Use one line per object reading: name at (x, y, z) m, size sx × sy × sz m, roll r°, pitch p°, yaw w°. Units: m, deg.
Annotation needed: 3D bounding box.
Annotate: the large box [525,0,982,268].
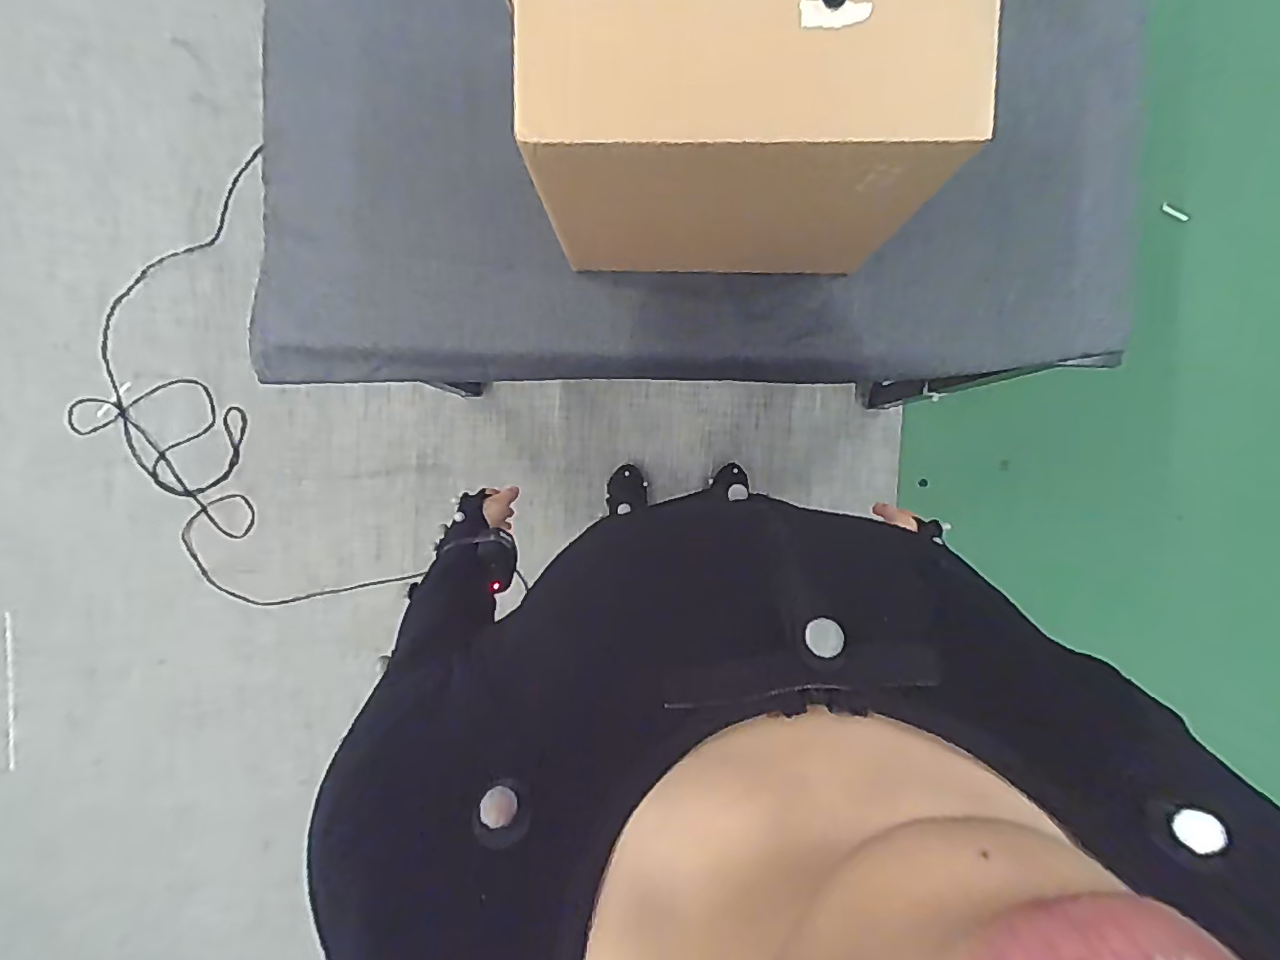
large box at (0.098, -0.452, 0.617) m, size 0.408 × 0.320 × 0.320 m, roll 0°, pitch 92°, yaw 1°
